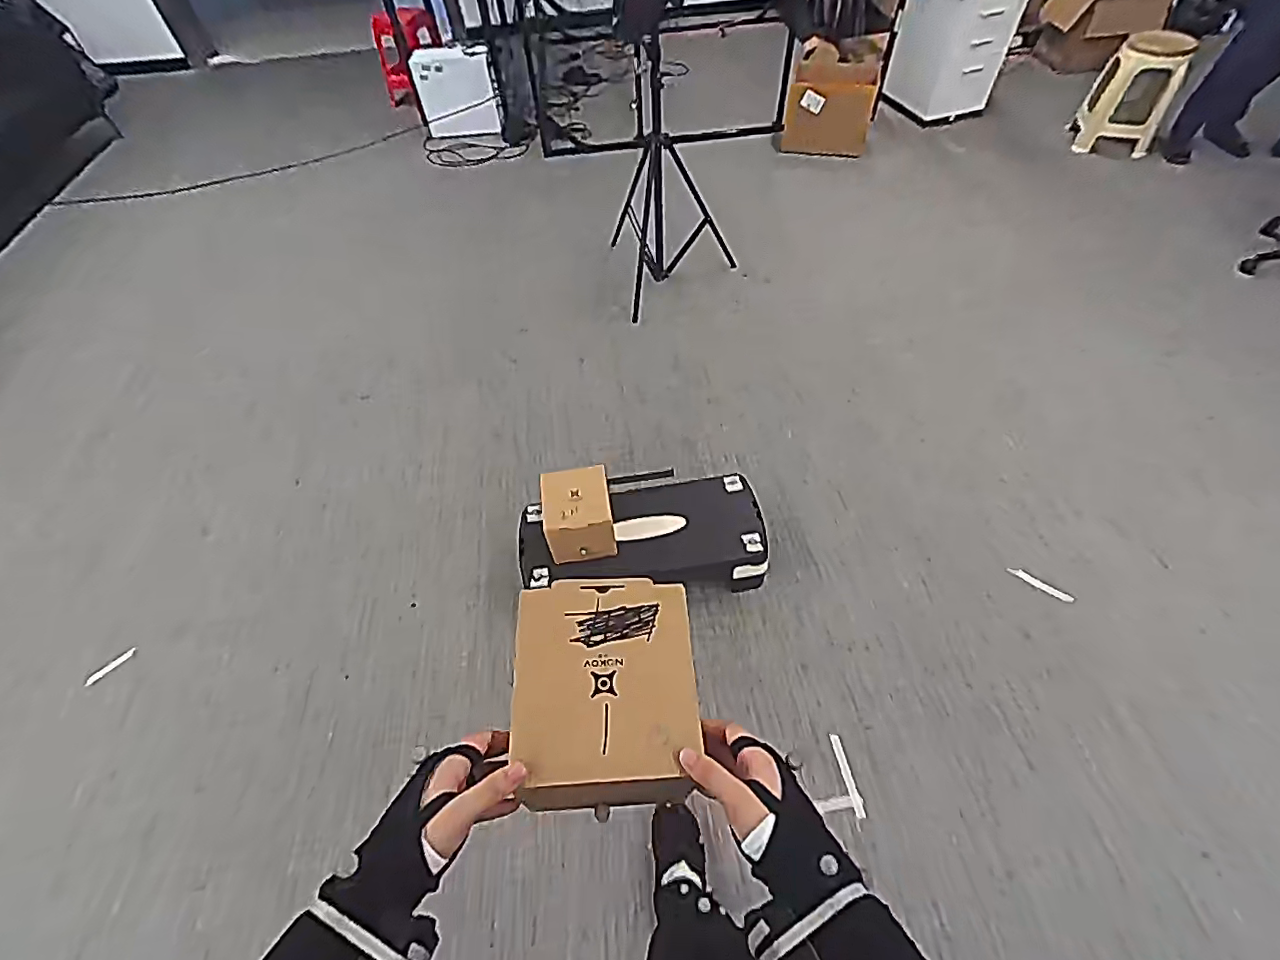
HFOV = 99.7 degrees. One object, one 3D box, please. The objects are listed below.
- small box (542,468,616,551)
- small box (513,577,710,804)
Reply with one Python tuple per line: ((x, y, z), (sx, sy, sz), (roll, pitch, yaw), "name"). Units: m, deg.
((-0.156, 0.095, 1.397), (0.168, 0.176, 0.179), (-9, 54, -3), "small box")
((-0.031, 0.218, 0.557), (0.168, 0.176, 0.179), (-2, 53, -4), "small box")
